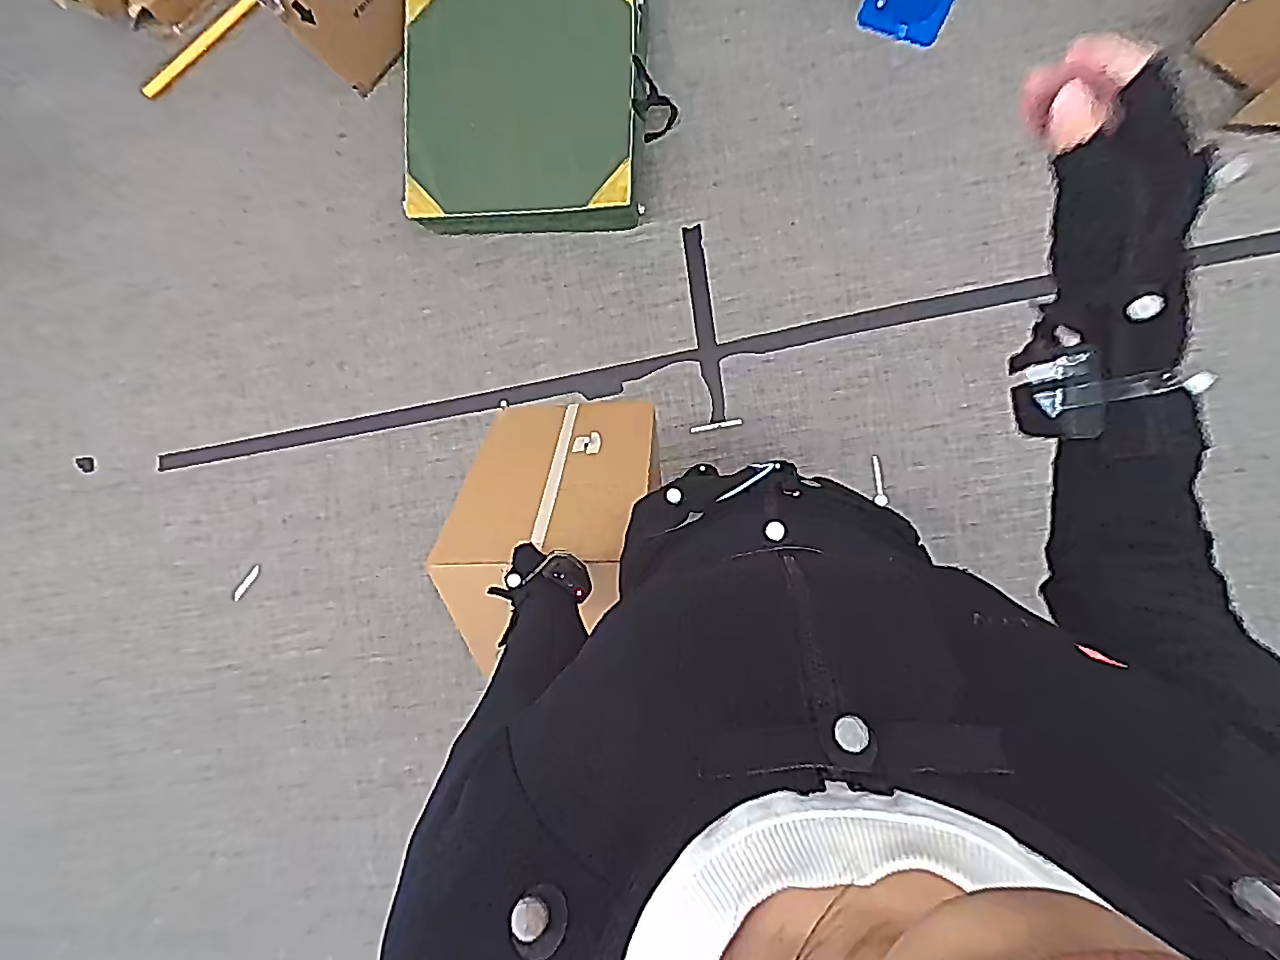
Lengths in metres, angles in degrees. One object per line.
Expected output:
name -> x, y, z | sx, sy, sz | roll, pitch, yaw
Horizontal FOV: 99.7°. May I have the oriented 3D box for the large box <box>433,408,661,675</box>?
large box -> -0.128, 0.107, 1.016 | 0.320, 0.408, 0.320 | -1, 130, 6
